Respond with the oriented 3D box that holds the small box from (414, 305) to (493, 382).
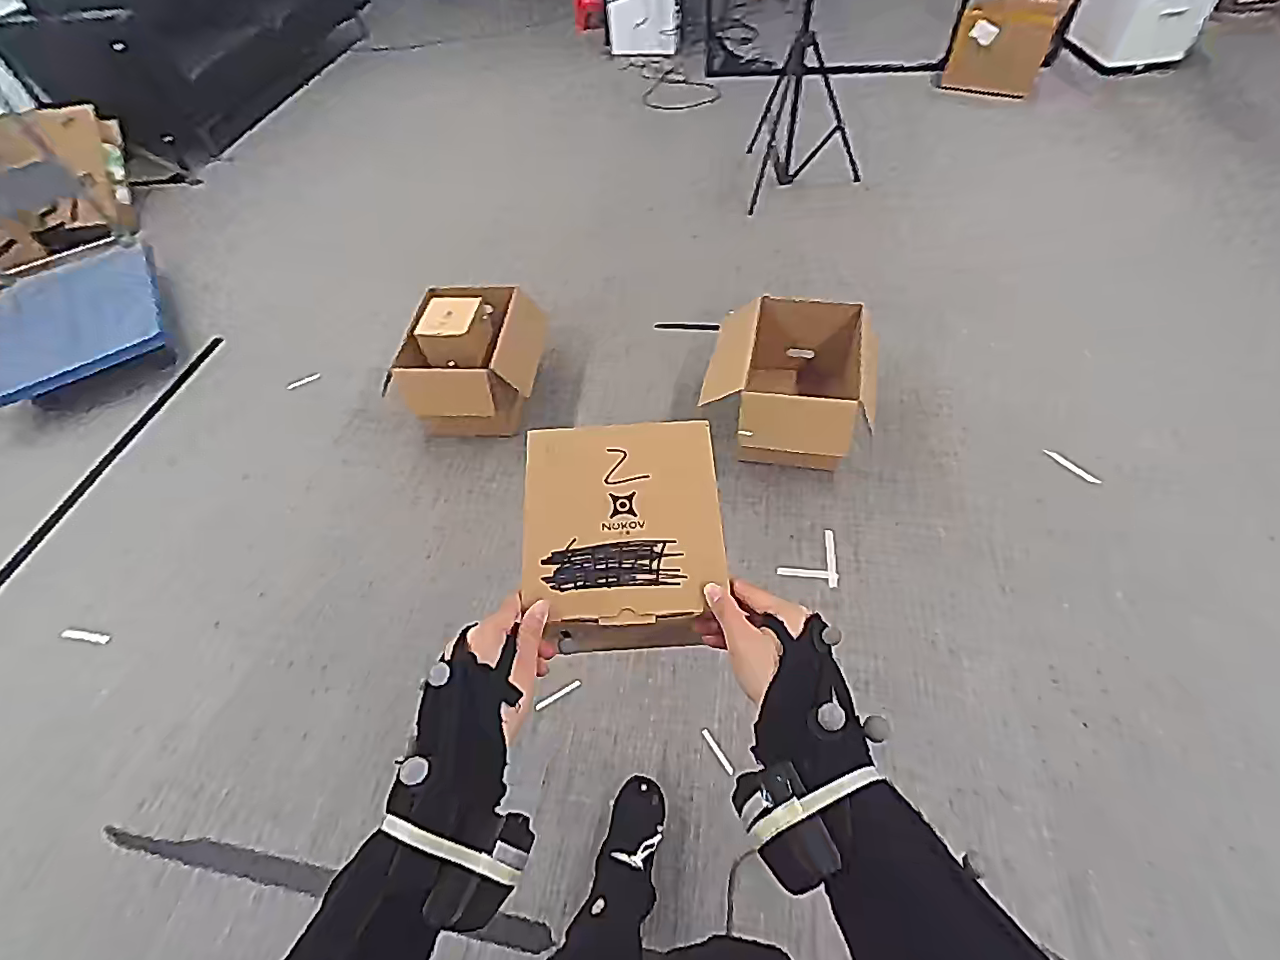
[{"bbox_3d":[-0.587,-0.438,1.731,0.168,0.176,0.179,2,55,8],"label":"small box"}]
